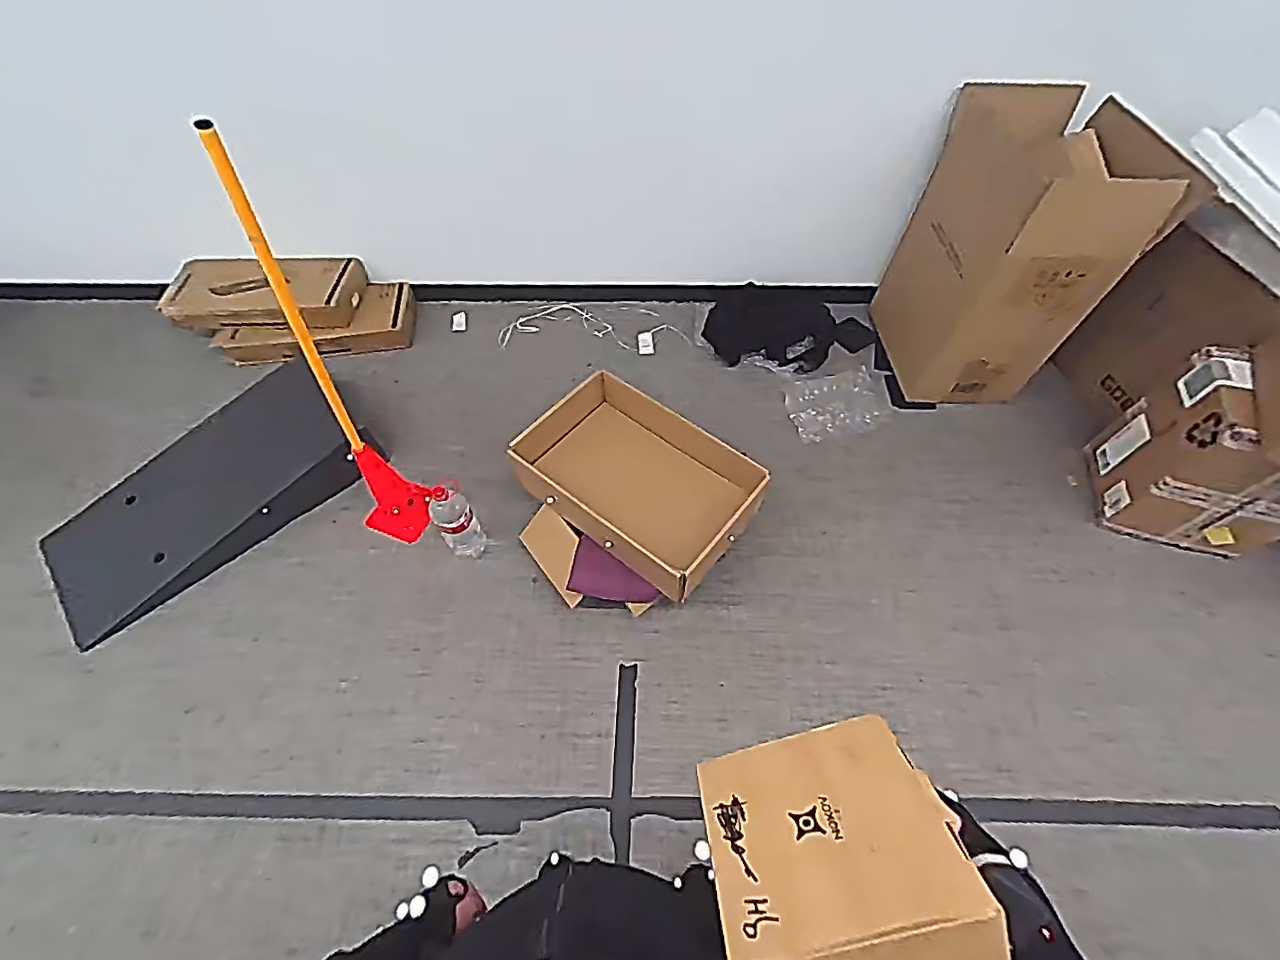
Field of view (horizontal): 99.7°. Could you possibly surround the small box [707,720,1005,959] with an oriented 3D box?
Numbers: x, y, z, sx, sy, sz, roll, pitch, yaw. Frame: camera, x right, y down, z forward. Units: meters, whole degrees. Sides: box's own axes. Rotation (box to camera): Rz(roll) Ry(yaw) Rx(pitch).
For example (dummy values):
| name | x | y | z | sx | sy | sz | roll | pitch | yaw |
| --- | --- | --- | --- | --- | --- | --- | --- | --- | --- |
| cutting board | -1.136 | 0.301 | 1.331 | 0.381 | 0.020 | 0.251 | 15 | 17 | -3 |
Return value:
| name | x | y | z | sx | sy | sz | roll | pitch | yaw |
| --- | --- | --- | --- | --- | --- | --- | --- | --- | --- |
| small box | 0.169 | 0.343 | 0.450 | 0.179 | 0.176 | 0.168 | -17 | 18 | 4 |
